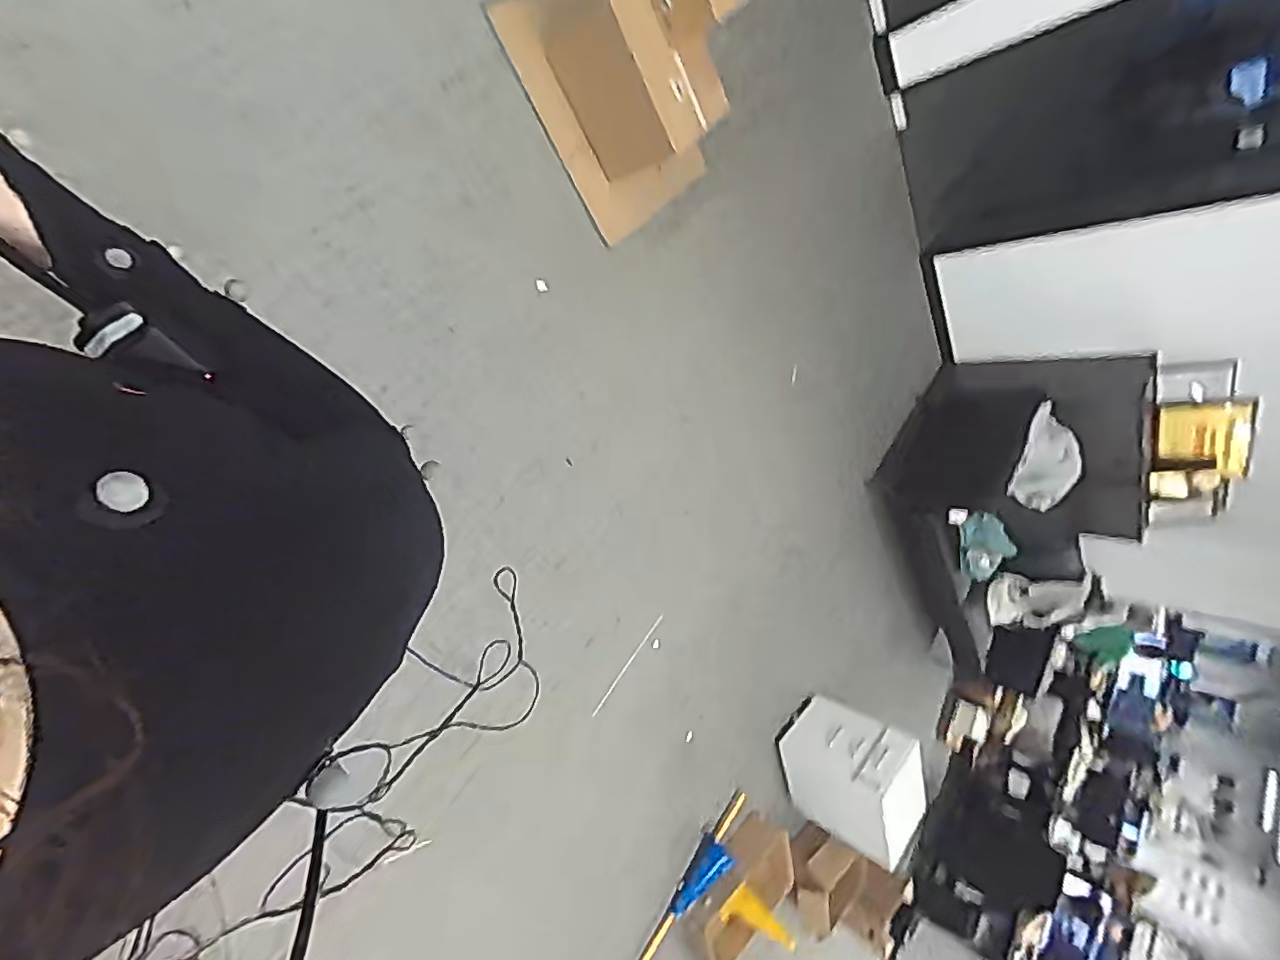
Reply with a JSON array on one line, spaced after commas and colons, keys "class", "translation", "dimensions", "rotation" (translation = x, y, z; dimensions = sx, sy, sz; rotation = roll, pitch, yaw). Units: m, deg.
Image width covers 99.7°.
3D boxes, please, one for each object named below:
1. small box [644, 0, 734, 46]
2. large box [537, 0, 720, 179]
[{"class": "small box", "translation": [0.129, -1.307, 1.432], "dimensions": [0.179, 0.176, 0.168], "rotation": [-53, 127, -23]}, {"class": "large box", "translation": [-0.028, -1.218, 1.634], "dimensions": [0.320, 0.320, 0.408], "rotation": [-51, 128, -23]}]
